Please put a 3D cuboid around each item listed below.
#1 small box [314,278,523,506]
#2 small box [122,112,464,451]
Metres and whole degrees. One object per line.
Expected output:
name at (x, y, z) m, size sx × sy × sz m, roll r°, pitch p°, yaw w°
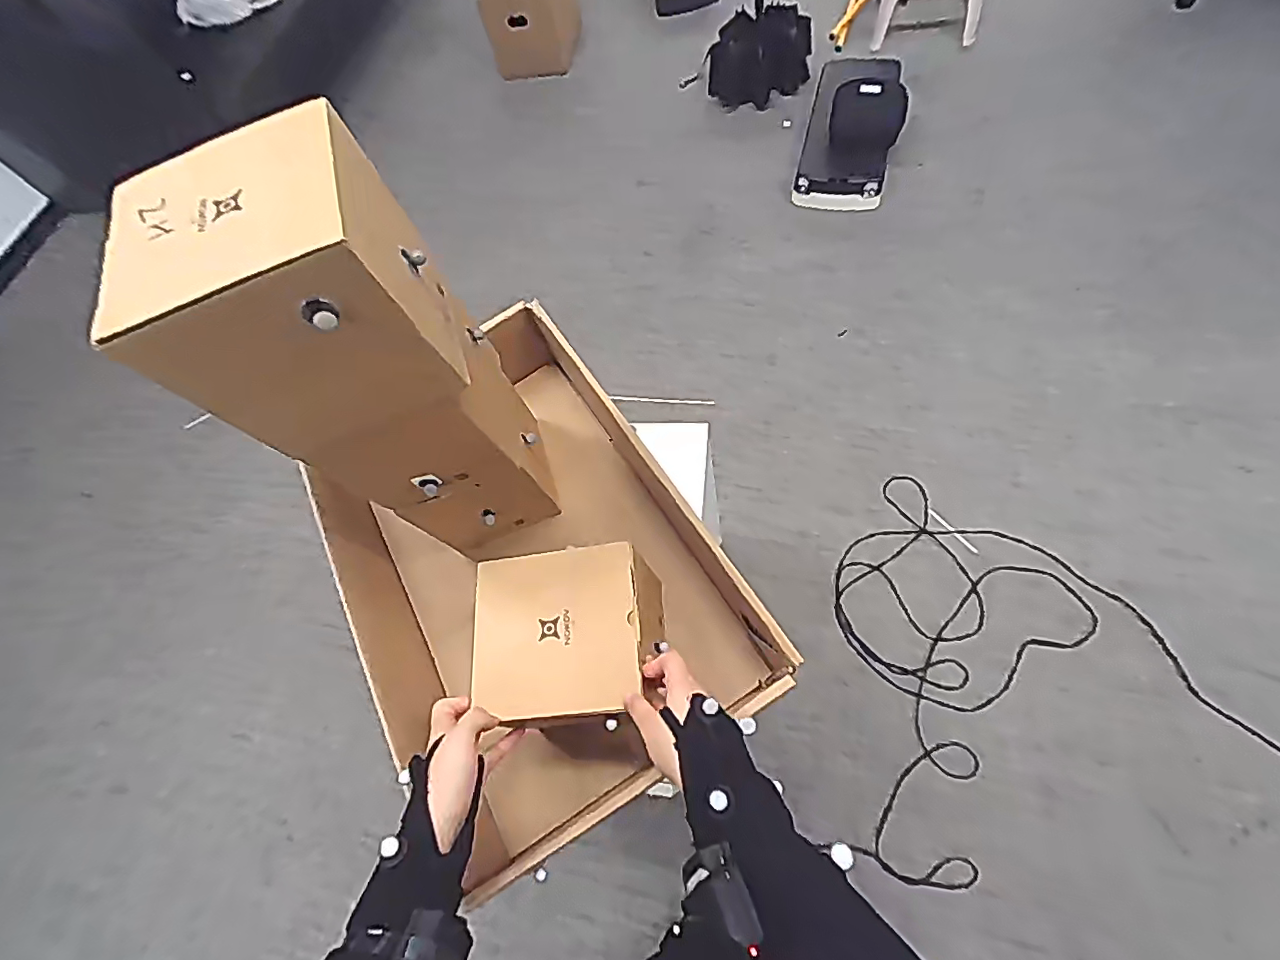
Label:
small box at (-0.249, -0.095, 0.611) m, size 0.168 × 0.176 × 0.179 m, roll -19°, pitch 65°, yaw 4°
small box at (-0.267, -0.152, 0.456) m, size 0.179 × 0.176 × 0.168 m, roll -22°, pitch 63°, yaw 3°
